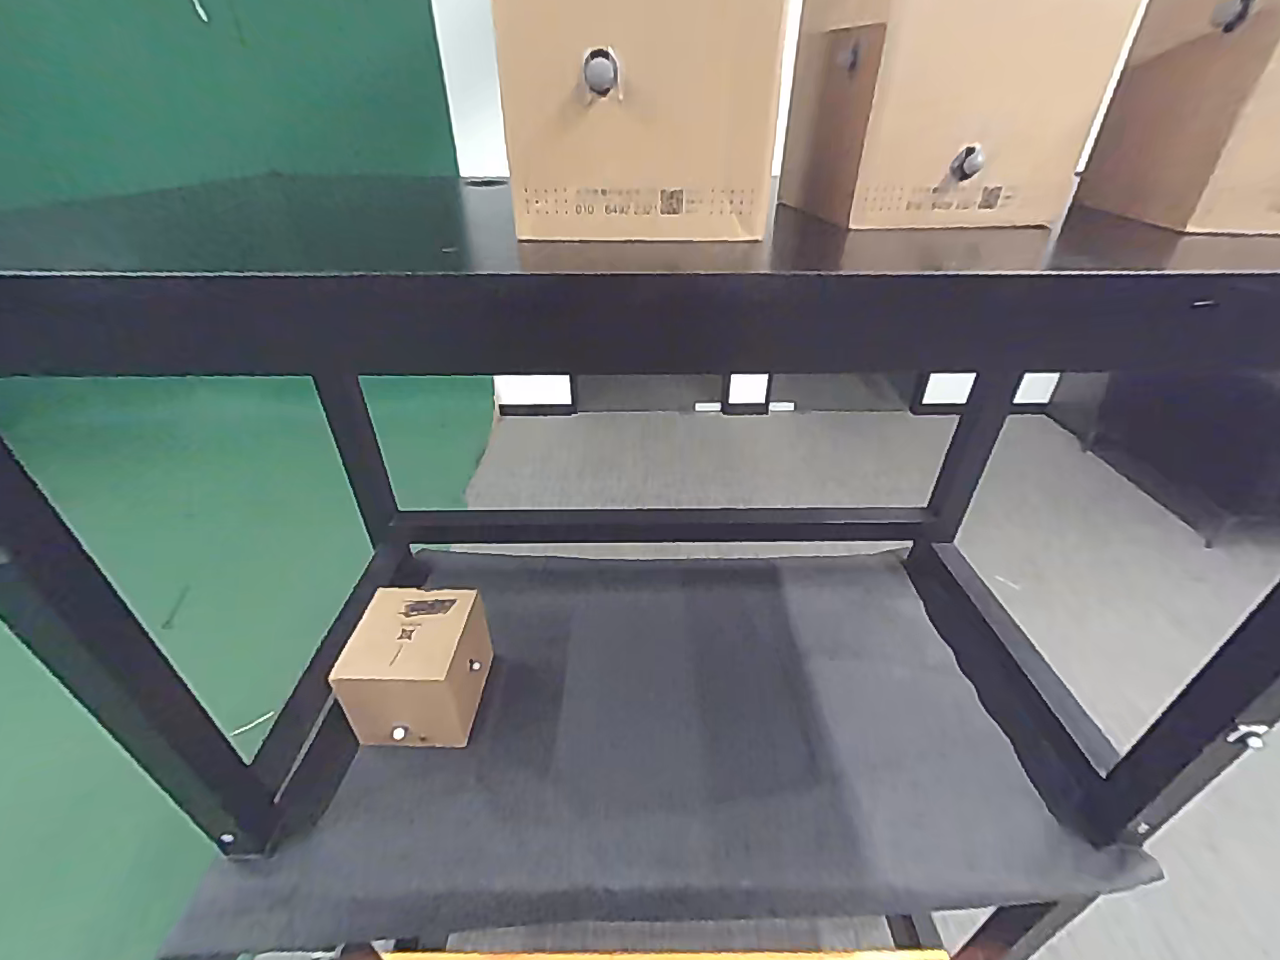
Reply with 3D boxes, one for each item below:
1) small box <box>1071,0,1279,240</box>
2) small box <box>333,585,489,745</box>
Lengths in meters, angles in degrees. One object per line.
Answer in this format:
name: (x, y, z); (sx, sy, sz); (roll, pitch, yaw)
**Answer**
small box: (0.472, -0.277, 0.396); (0.168, 0.176, 0.179); (6, 34, 9)
small box: (-0.347, 0.291, 0.862); (0.168, 0.176, 0.179); (1, 34, 1)
